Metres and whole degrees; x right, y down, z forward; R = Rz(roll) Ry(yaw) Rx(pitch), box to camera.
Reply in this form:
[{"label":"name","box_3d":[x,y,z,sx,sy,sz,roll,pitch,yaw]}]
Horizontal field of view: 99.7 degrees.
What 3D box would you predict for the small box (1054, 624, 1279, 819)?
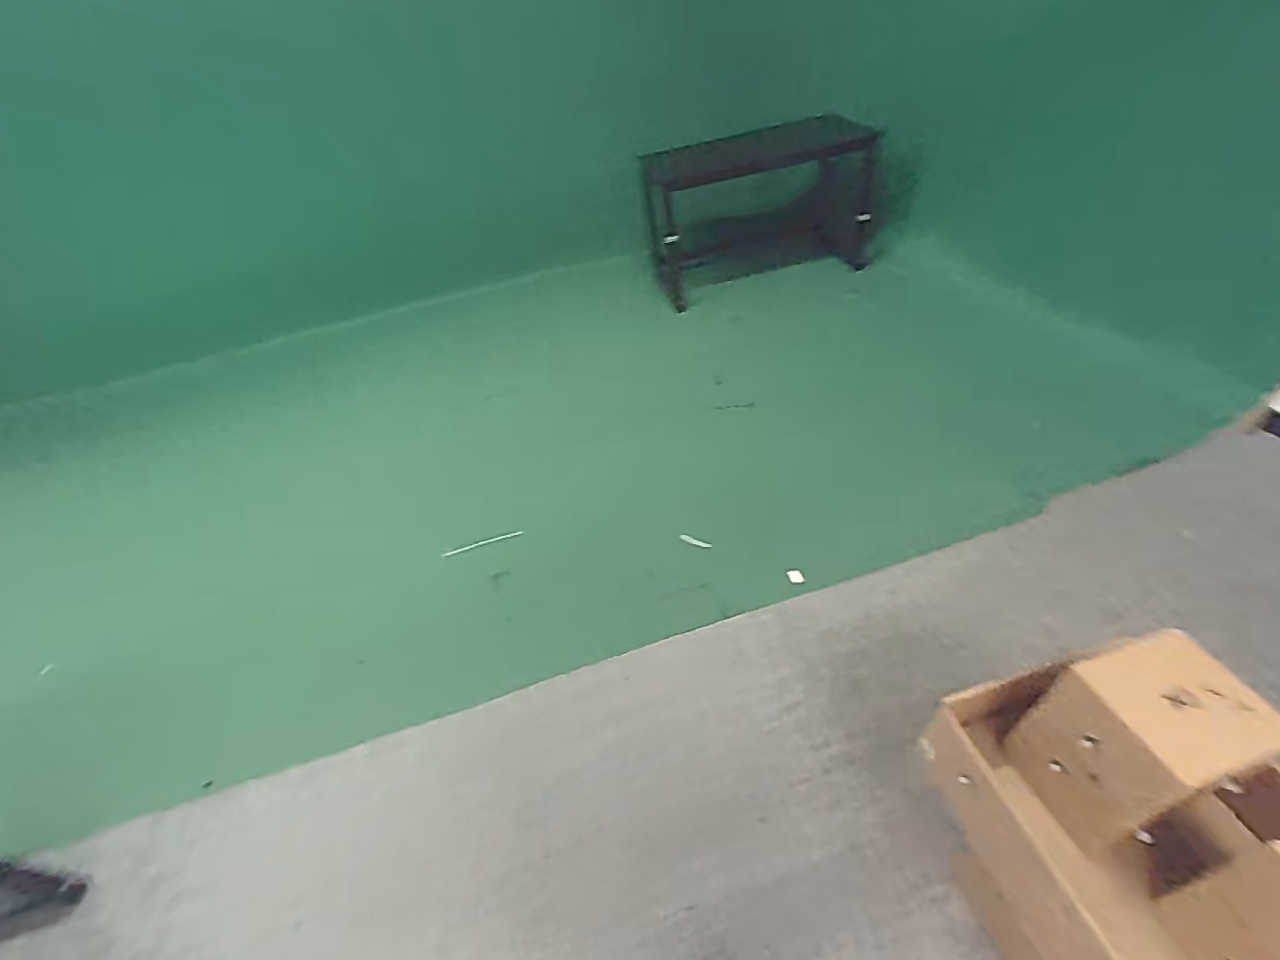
[{"label":"small box","box_3d":[0.720,0.334,0.744,0.179,0.176,0.168,-17,43,-4]}]
